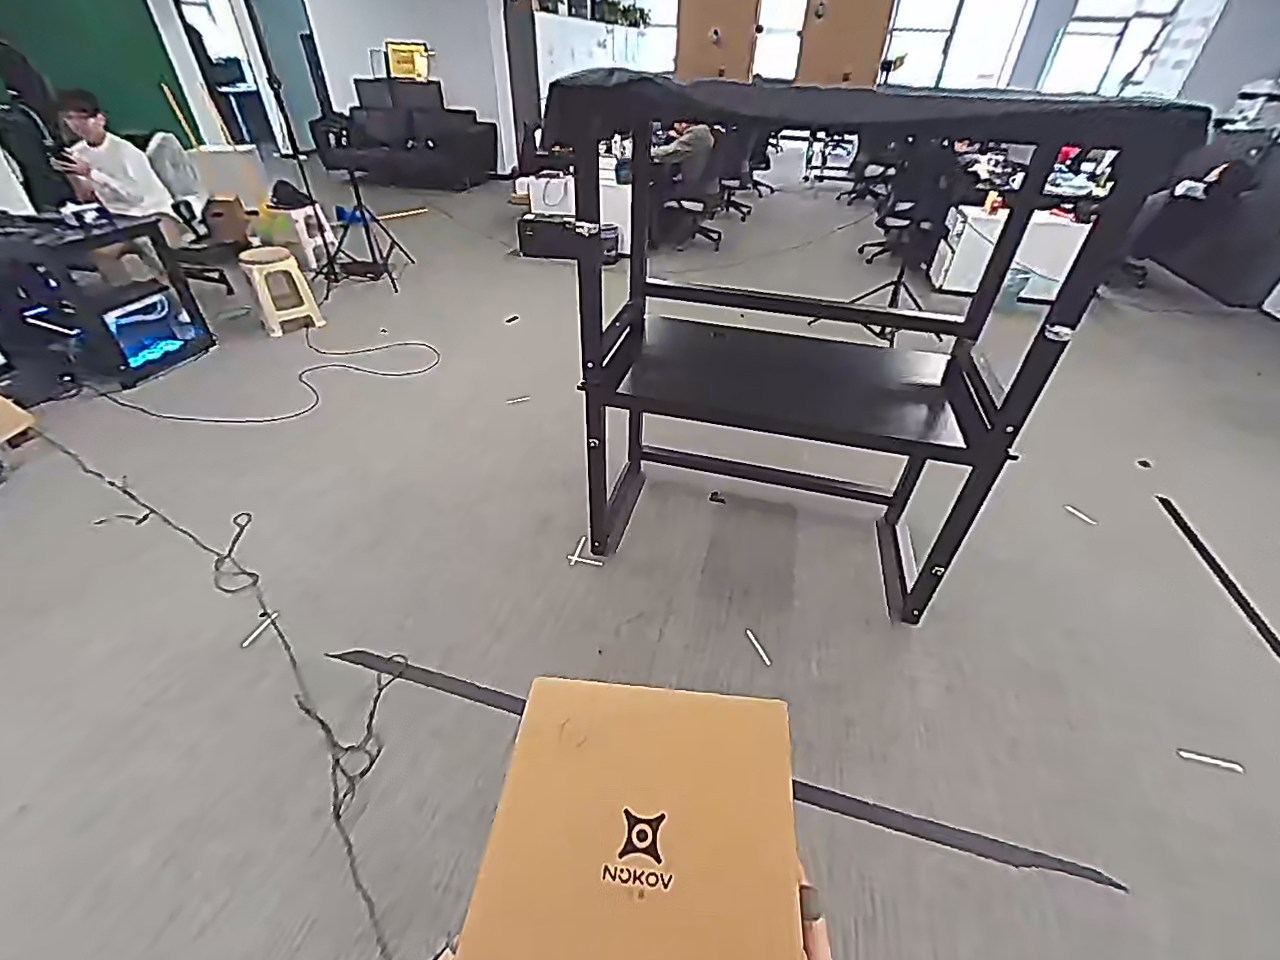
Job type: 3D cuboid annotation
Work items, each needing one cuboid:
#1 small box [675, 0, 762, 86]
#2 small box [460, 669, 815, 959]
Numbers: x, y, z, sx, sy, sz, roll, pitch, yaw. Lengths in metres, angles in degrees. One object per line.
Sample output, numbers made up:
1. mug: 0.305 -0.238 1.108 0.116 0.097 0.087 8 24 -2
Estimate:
1. small box: 0.170 -0.960 1.168 0.168 0.176 0.179 9 38 7
2. small box: 0.007 0.246 0.340 0.168 0.176 0.179 3 45 7
